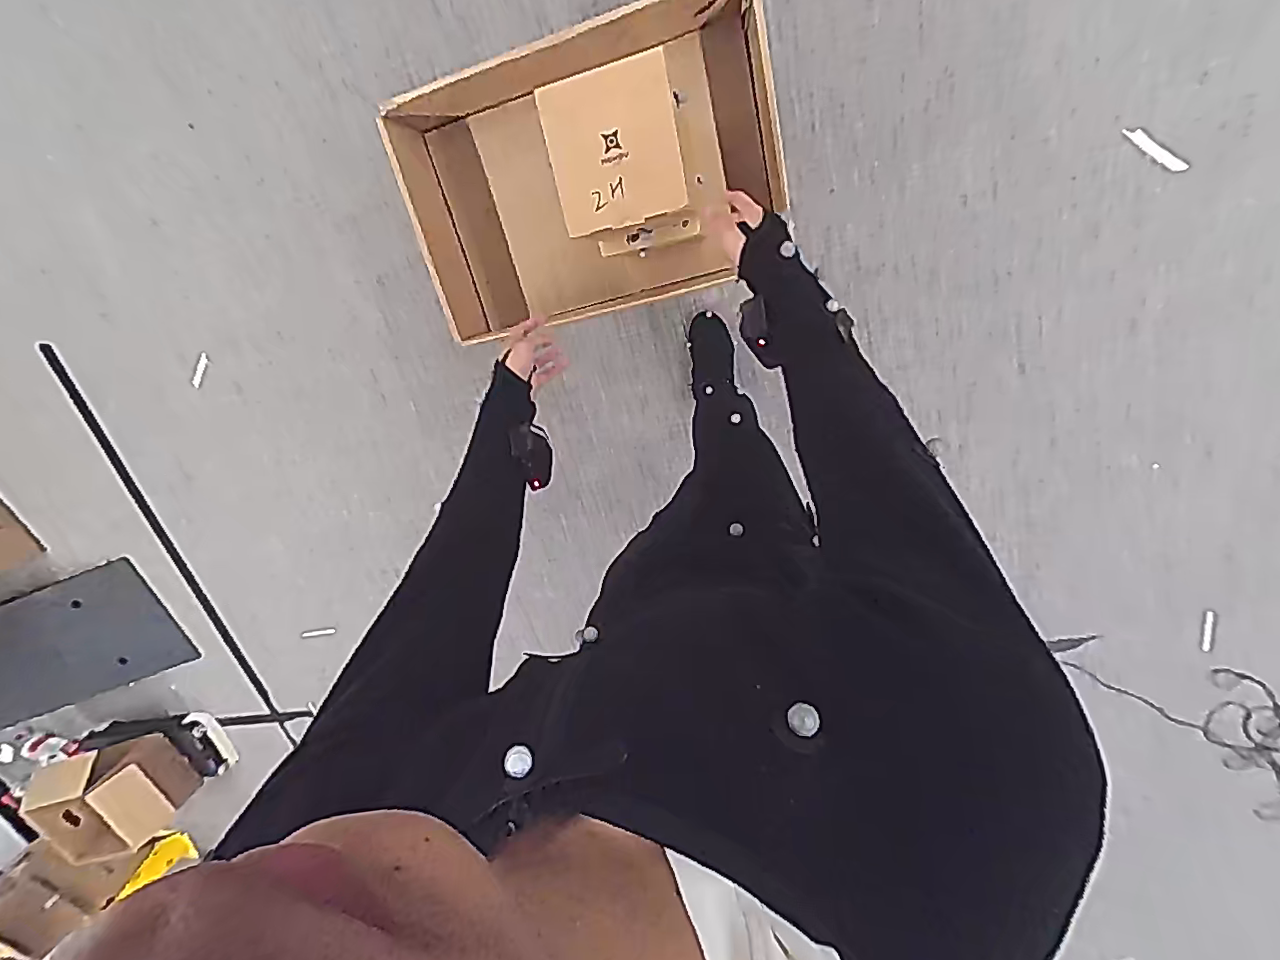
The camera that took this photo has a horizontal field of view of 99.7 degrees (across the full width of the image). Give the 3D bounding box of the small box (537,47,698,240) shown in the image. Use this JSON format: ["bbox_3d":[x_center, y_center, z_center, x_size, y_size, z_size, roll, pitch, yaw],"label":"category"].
[{"bbox_3d":[-0.018,-0.439,0.738,0.168,0.176,0.179,-7,112,15],"label":"small box"}]
